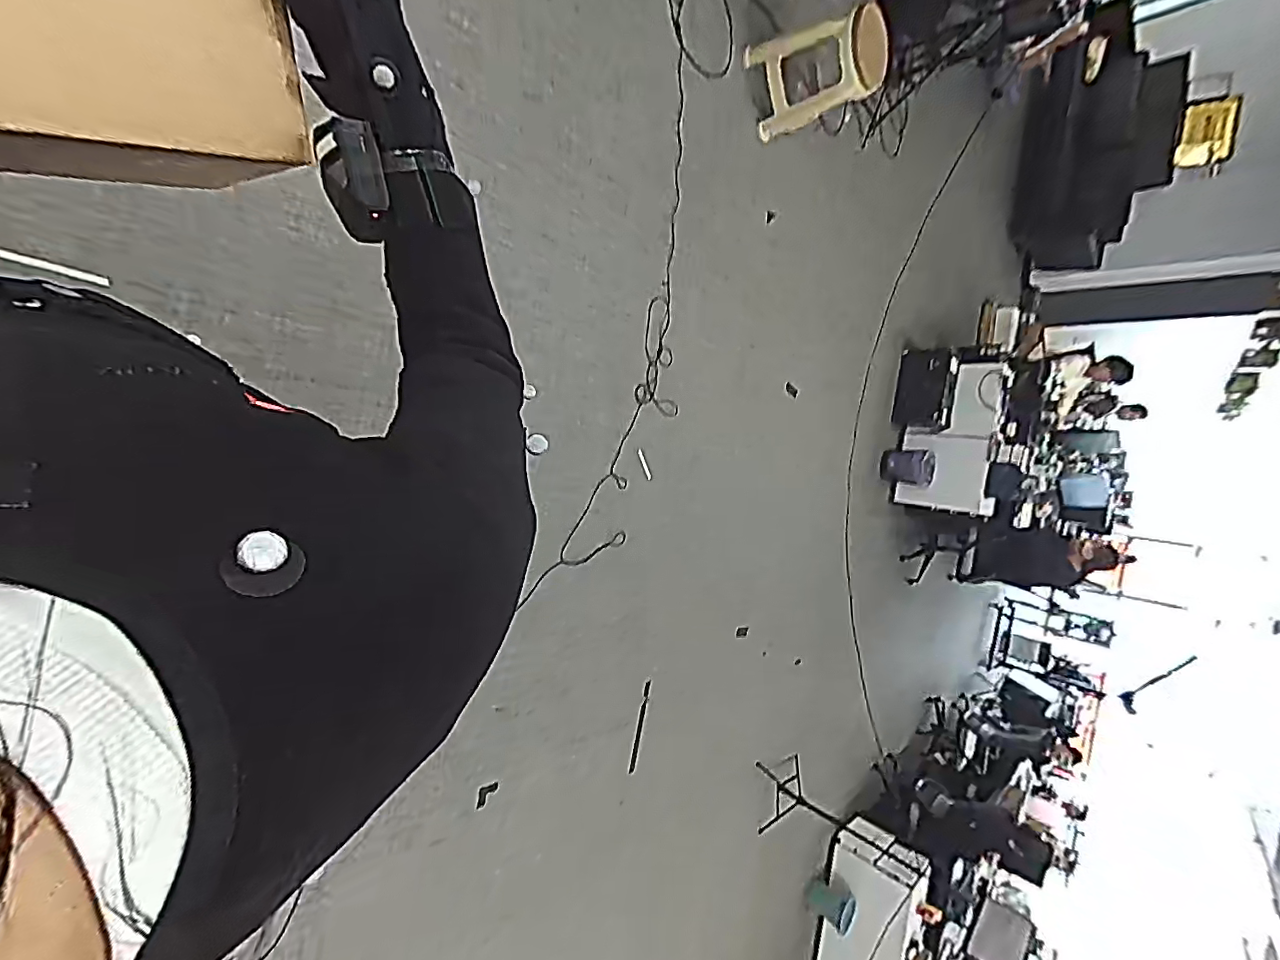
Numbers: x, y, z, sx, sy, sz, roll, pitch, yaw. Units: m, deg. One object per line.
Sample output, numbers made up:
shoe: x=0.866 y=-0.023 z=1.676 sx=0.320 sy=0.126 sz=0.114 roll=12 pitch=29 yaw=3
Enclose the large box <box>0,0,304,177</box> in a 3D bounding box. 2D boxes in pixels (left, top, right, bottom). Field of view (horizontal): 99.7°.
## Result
large box: x=-0.483 y=-0.361 z=0.290 sx=0.408 sy=0.320 sz=0.320 roll=-22 pitch=123 yaw=-42
